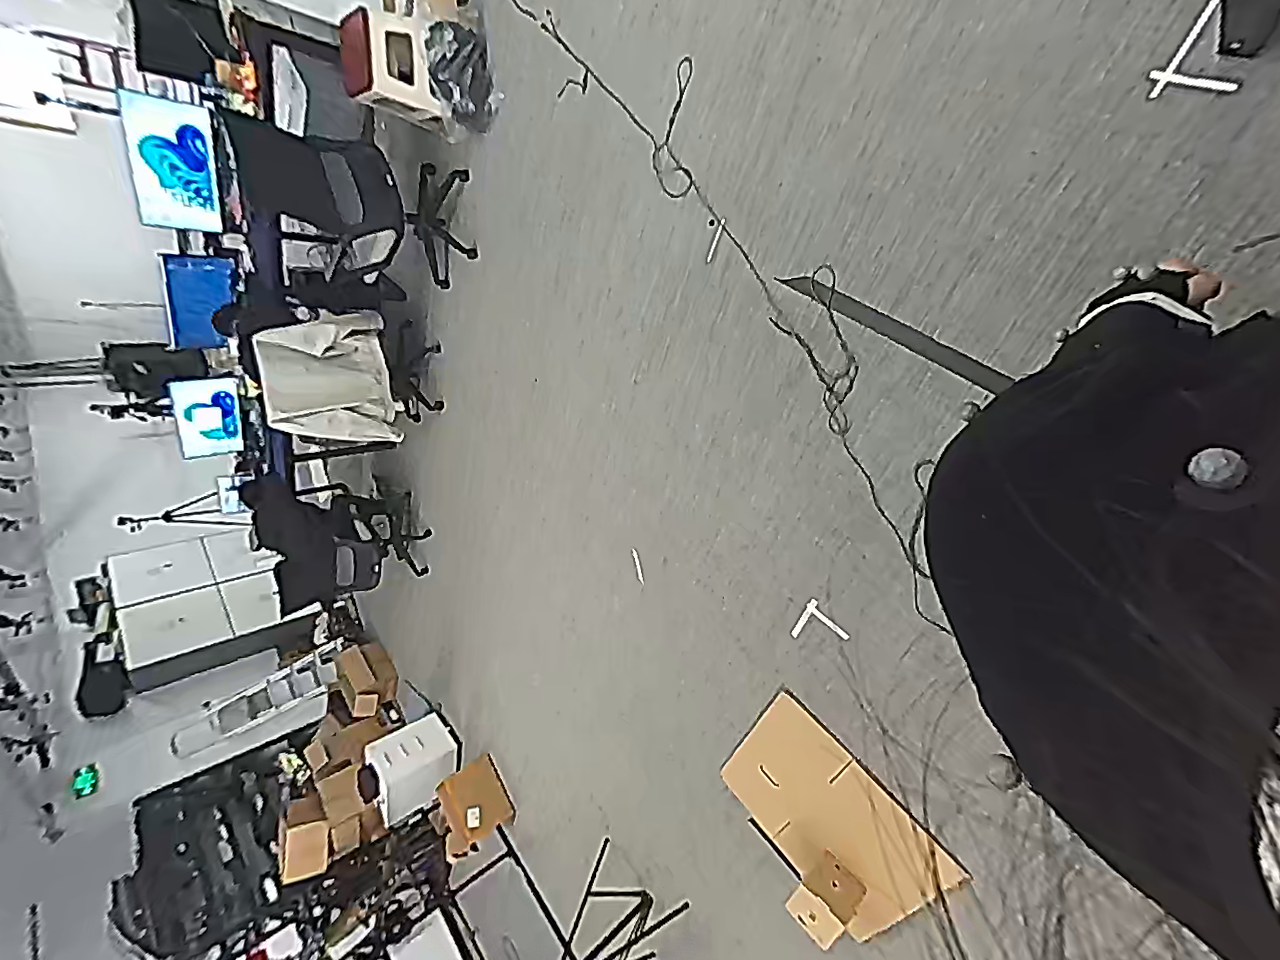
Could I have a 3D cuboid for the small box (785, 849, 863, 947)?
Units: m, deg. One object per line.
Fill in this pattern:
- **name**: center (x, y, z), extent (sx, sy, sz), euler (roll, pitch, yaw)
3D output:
- **small box**: center (0.630, 1.412, 1.839), extent (0.168, 0.176, 0.179), euler (35, 124, 34)
